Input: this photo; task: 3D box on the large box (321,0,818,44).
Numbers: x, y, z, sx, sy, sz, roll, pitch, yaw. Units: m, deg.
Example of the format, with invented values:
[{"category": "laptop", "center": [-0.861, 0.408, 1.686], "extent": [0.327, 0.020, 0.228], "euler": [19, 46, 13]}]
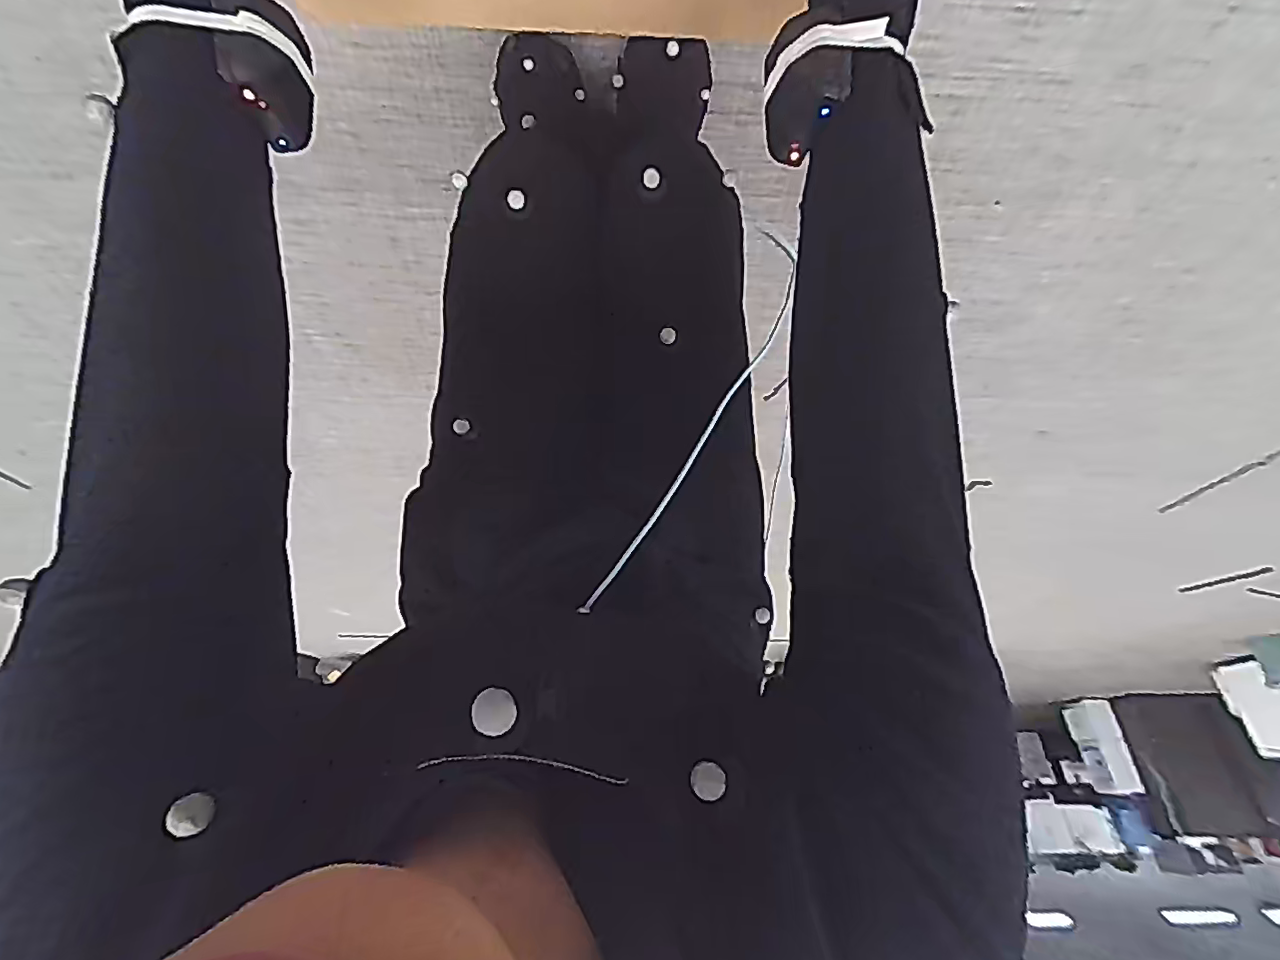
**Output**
[{"category": "large box", "center": [-0.056, -0.574, 0.398], "extent": [0.408, 0.320, 0.320], "euler": [1, 150, -2]}]
